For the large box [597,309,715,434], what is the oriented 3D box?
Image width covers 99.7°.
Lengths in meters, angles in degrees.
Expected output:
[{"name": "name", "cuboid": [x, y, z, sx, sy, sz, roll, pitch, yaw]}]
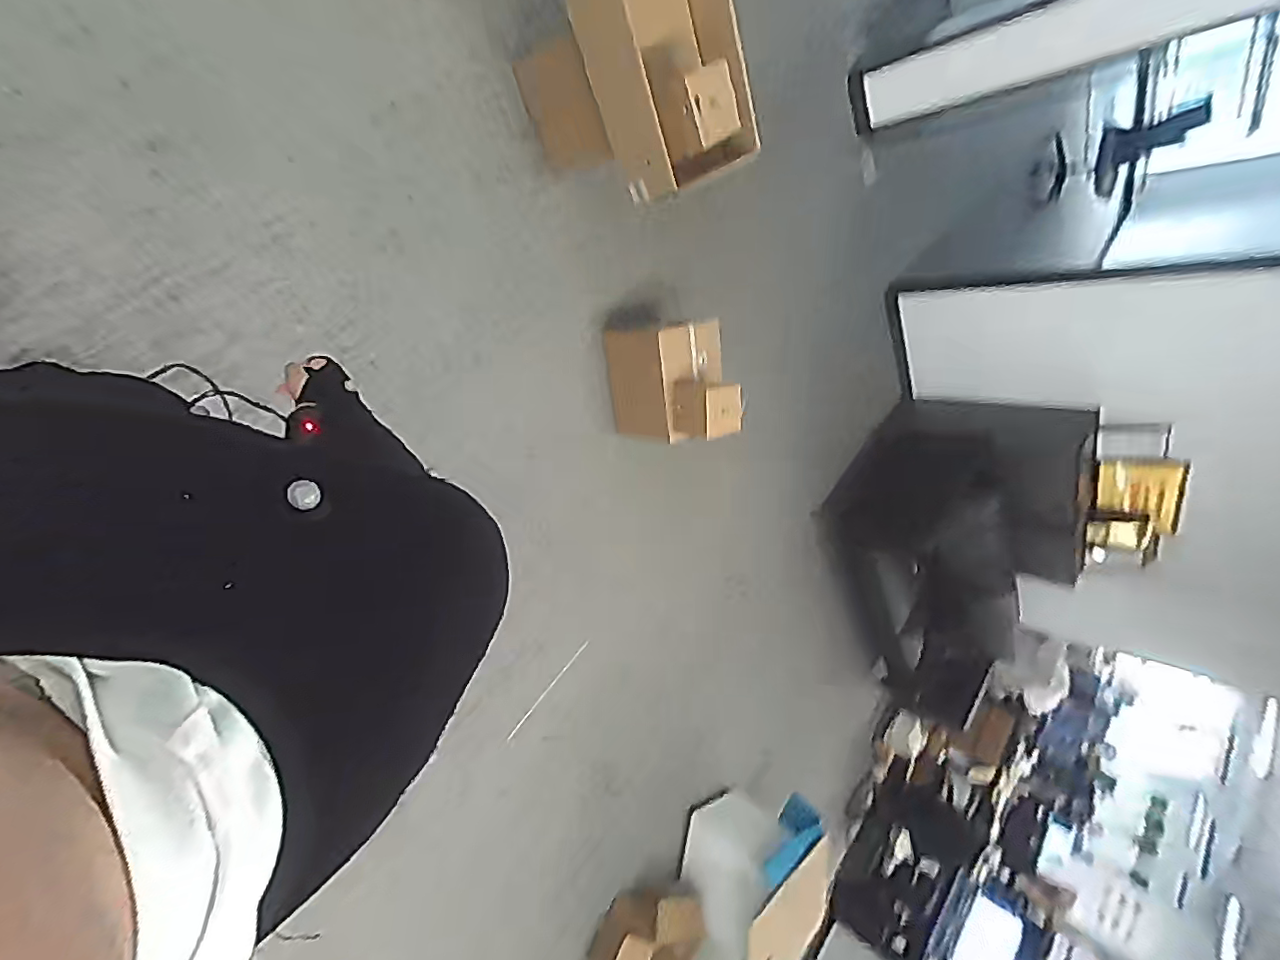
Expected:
[{"name": "large box", "cuboid": [0.072, -0.423, 2.073, 0.320, 0.320, 0.408, -25, 117, -37]}]

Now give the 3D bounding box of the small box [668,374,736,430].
[{"name": "small box", "cuboid": [0.218, -0.279, 1.906, 0.179, 0.176, 0.168, -16, 111, -37]}]
